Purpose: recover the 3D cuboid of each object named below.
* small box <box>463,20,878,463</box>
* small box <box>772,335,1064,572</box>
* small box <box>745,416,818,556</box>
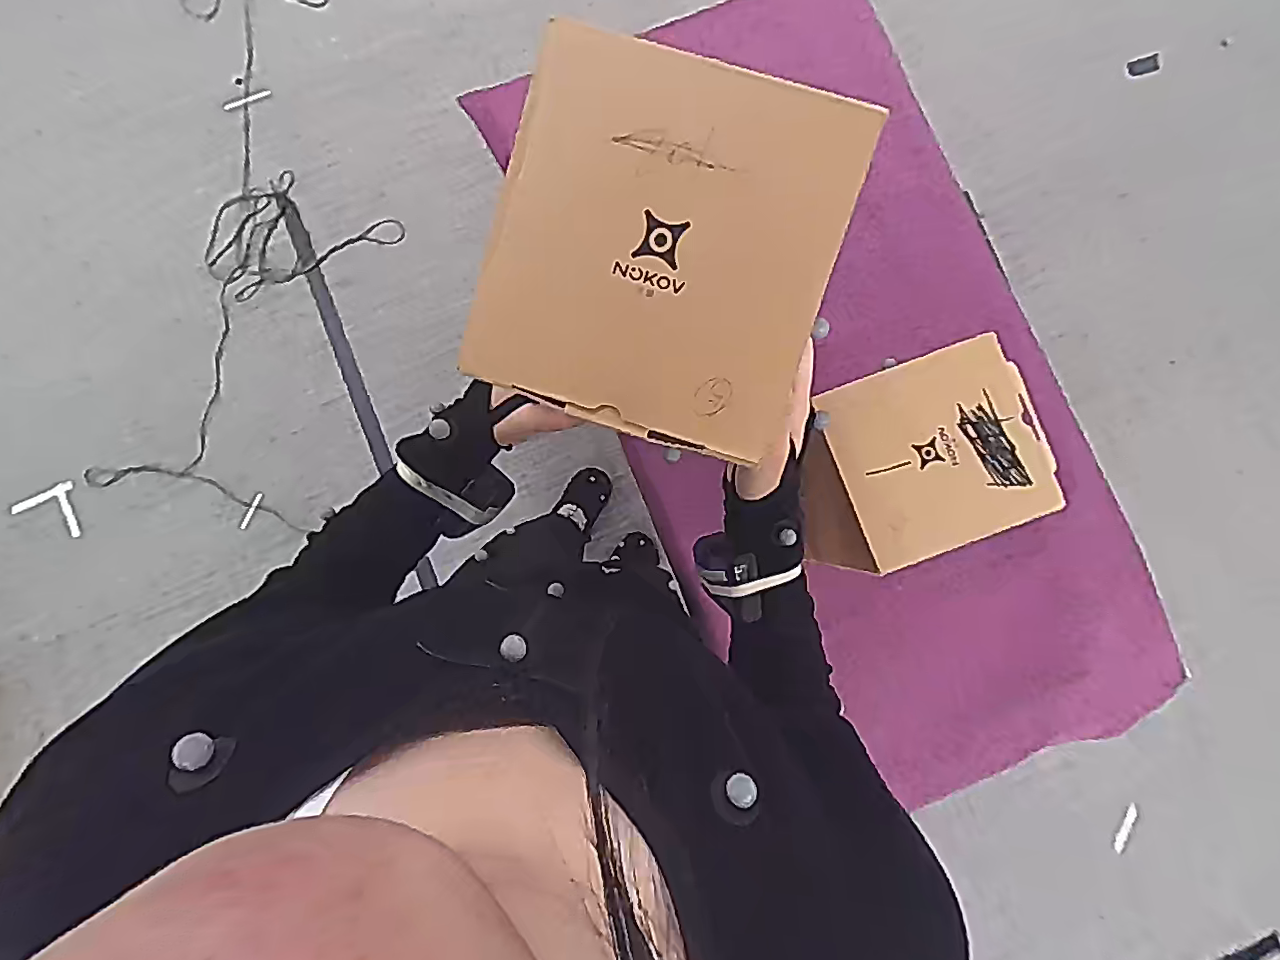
[{"bbox_3d":[0.015,-0.120,0.341,0.168,0.176,0.179,16,96,2],"label":"small box"},{"bbox_3d":[0.257,-0.019,0.545,0.179,0.176,0.168,-20,86,-2],"label":"small box"},{"bbox_3d":[0.249,-0.007,0.709,0.179,0.176,0.168,-20,86,-3],"label":"small box"}]
